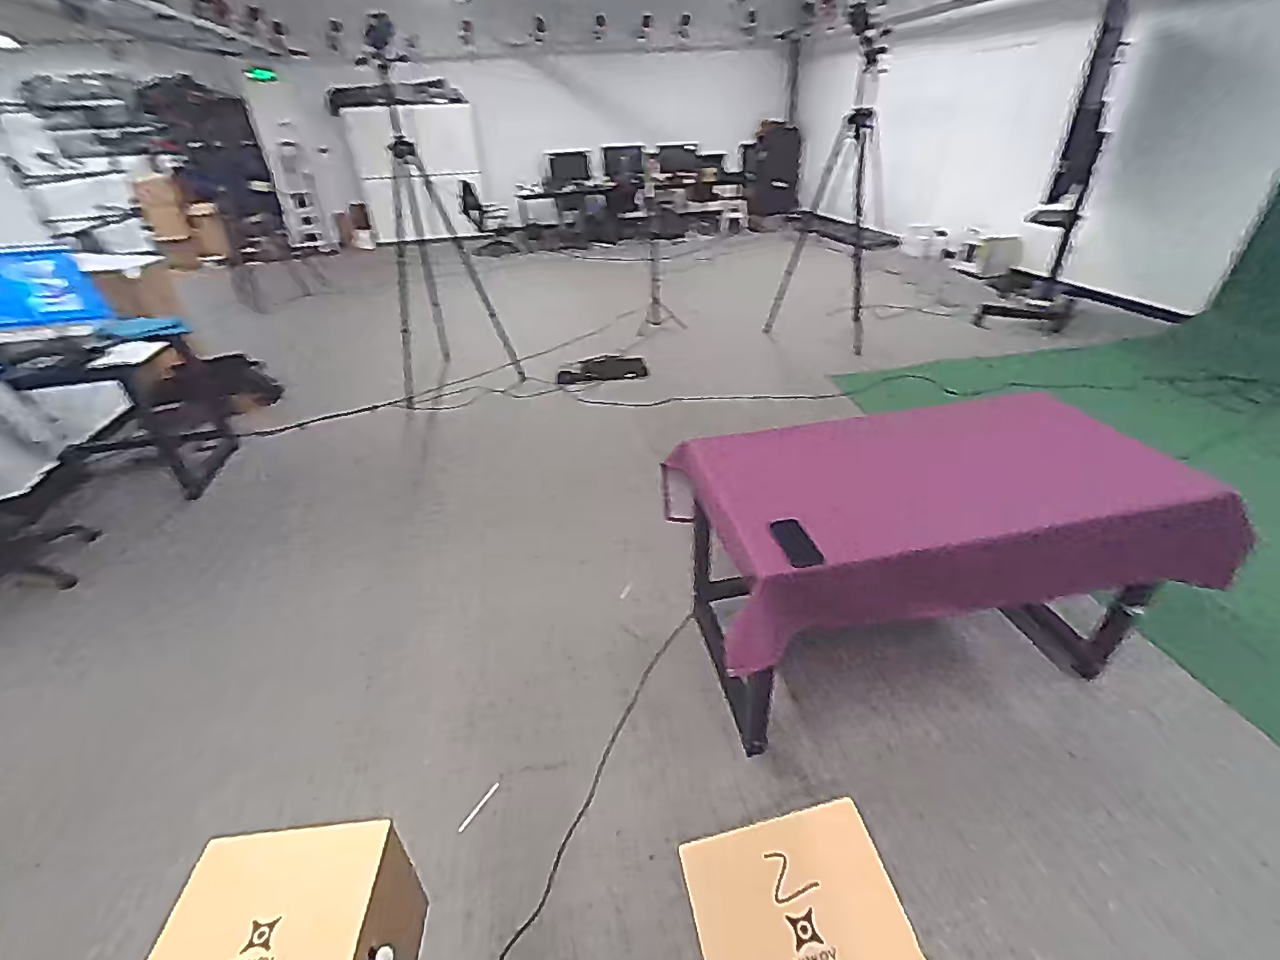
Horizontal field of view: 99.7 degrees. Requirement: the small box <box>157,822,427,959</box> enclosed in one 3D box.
[{"bbox_3d":[-0.302,0.442,0.480,0.168,0.176,0.179,-2,32,-4],"label":"small box"}]
